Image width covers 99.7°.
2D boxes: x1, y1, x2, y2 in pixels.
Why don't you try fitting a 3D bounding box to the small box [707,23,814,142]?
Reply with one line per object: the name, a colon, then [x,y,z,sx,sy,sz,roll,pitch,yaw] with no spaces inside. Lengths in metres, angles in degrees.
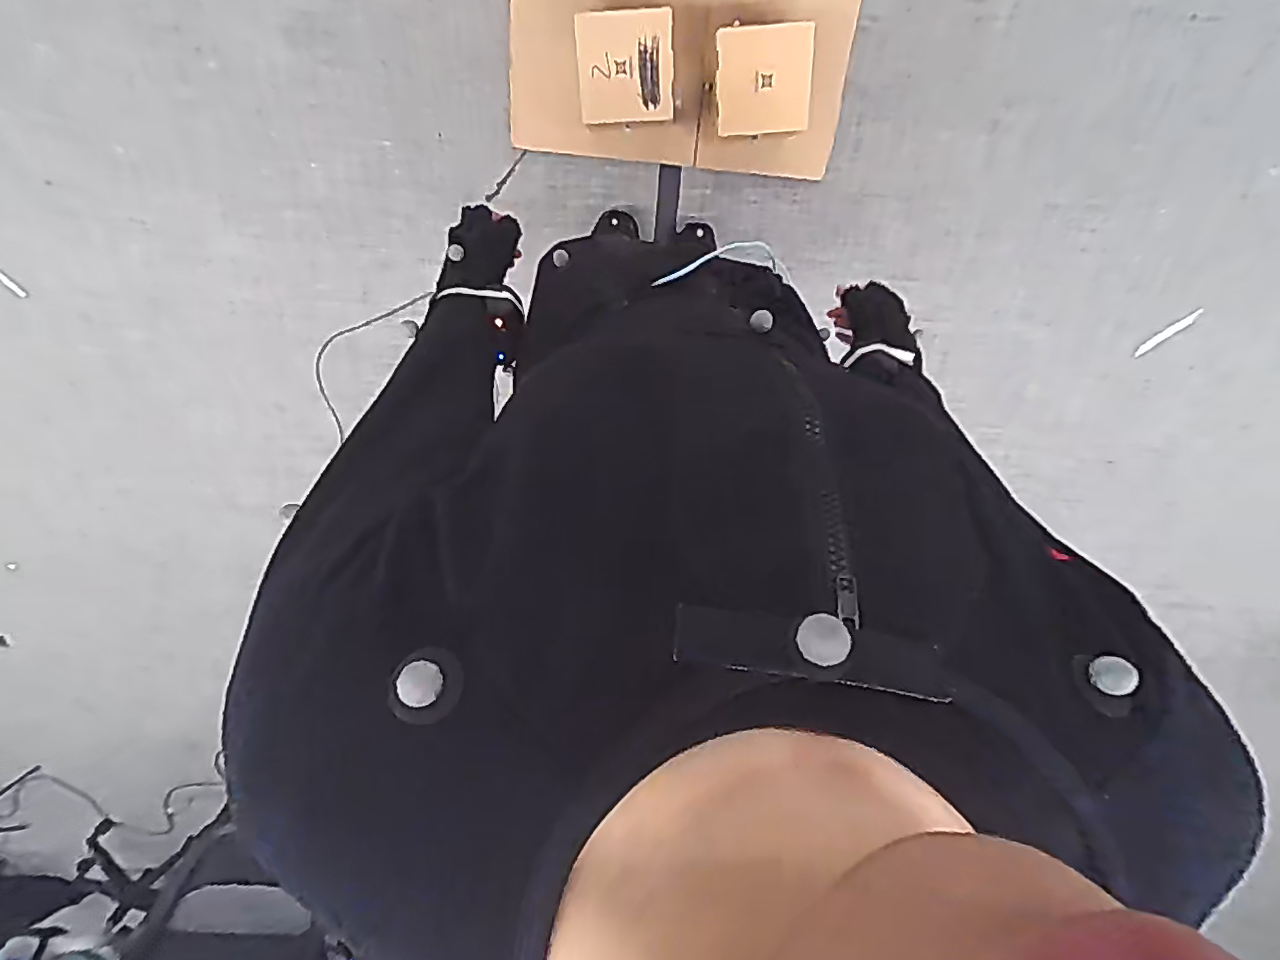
small box: [0.230,-0.779,1.075,0.179,0.176,0.168,-3,118,3]
